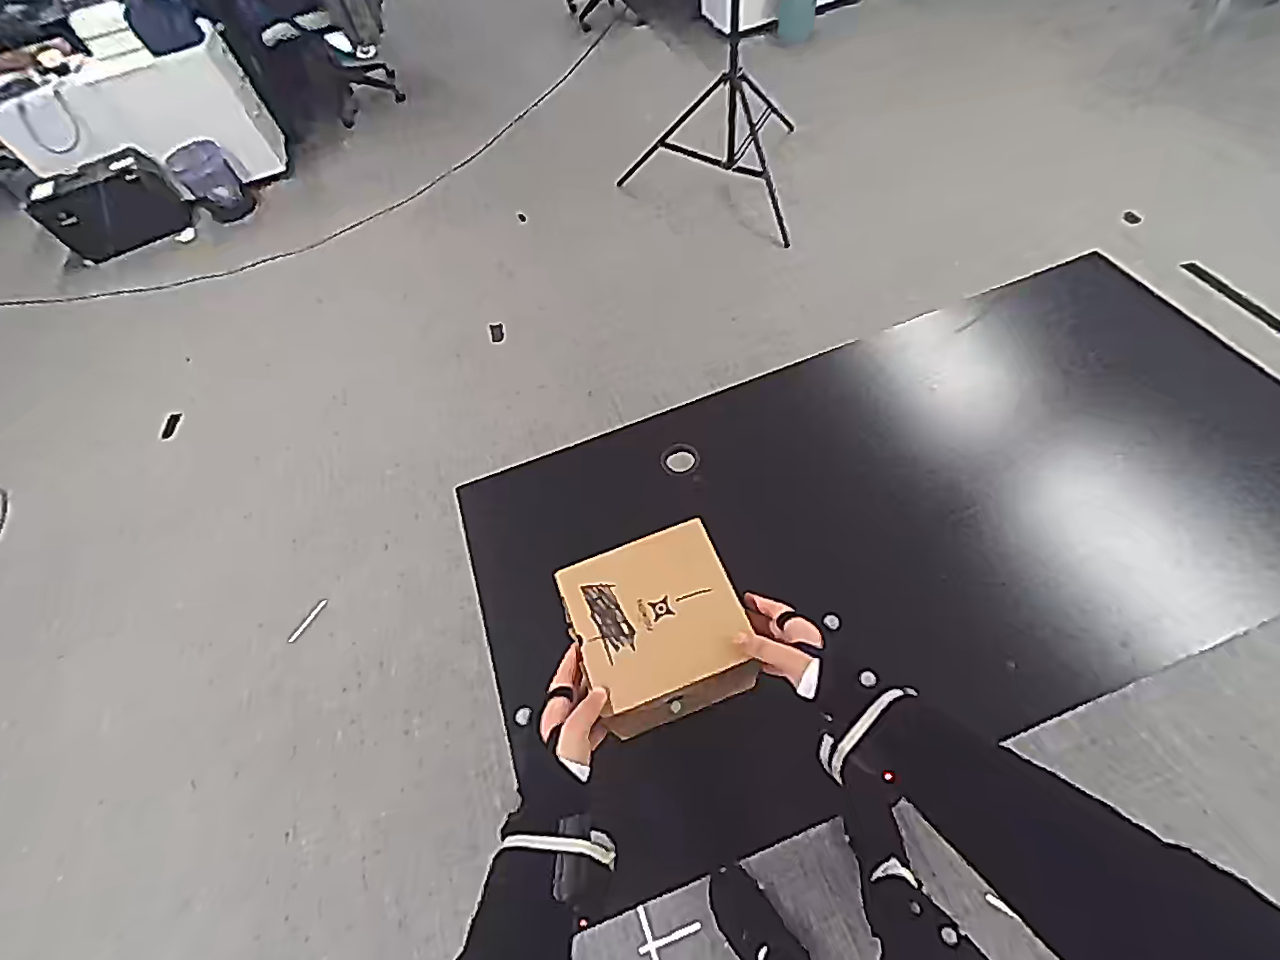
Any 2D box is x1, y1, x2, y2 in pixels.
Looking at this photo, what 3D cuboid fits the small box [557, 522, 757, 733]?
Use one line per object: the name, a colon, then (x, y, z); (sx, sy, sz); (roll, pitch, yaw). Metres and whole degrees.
small box: (0.022, 0.182, 0.640); (0.179, 0.176, 0.168); (-20, 59, -5)
